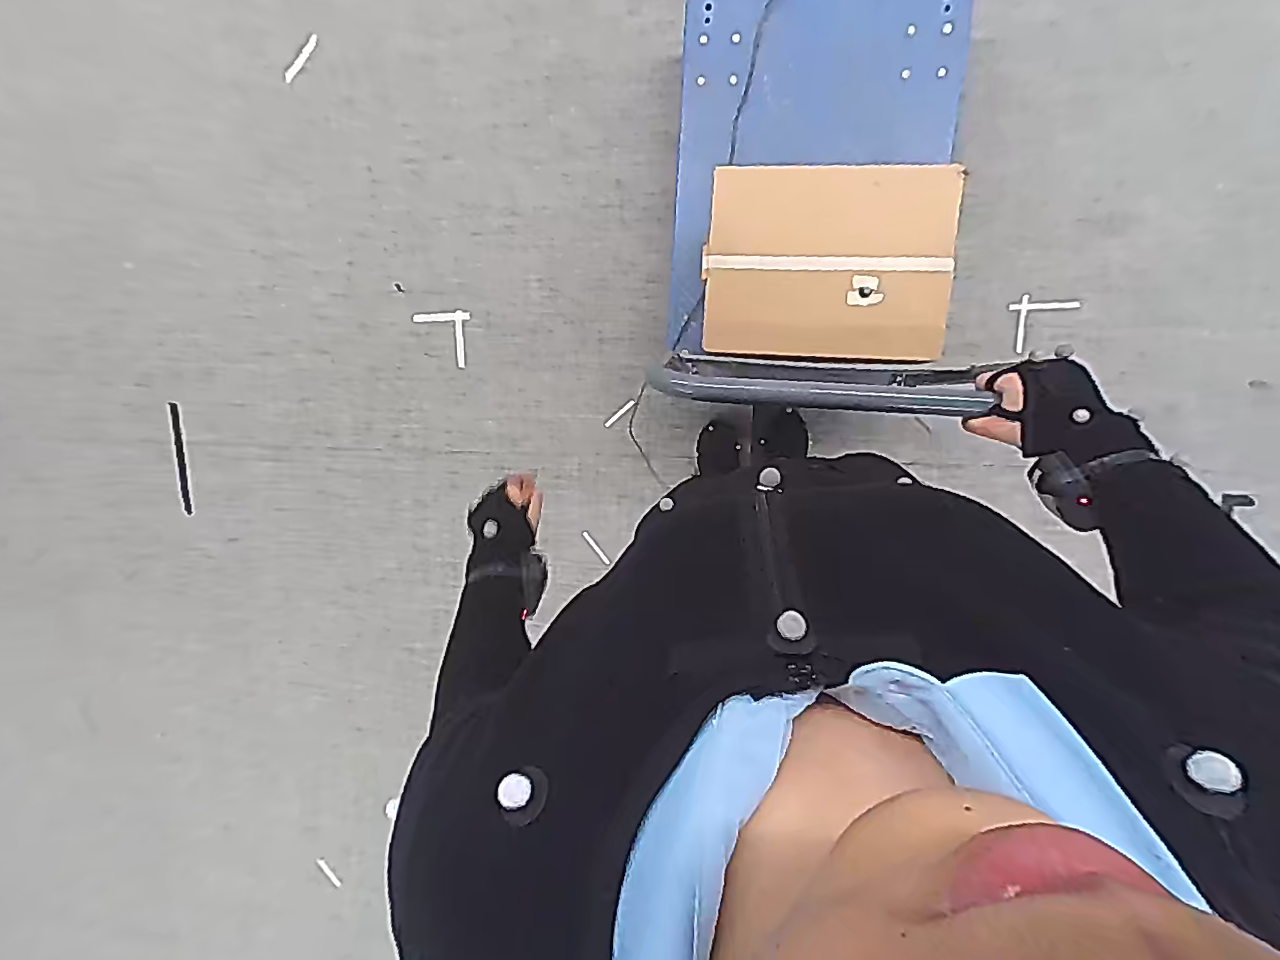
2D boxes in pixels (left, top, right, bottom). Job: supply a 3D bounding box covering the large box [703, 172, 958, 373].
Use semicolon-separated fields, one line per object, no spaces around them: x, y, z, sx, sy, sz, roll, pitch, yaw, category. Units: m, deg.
0.332;-0.377;1.065;0.408;0.320;0.320;4;100;7;large box
